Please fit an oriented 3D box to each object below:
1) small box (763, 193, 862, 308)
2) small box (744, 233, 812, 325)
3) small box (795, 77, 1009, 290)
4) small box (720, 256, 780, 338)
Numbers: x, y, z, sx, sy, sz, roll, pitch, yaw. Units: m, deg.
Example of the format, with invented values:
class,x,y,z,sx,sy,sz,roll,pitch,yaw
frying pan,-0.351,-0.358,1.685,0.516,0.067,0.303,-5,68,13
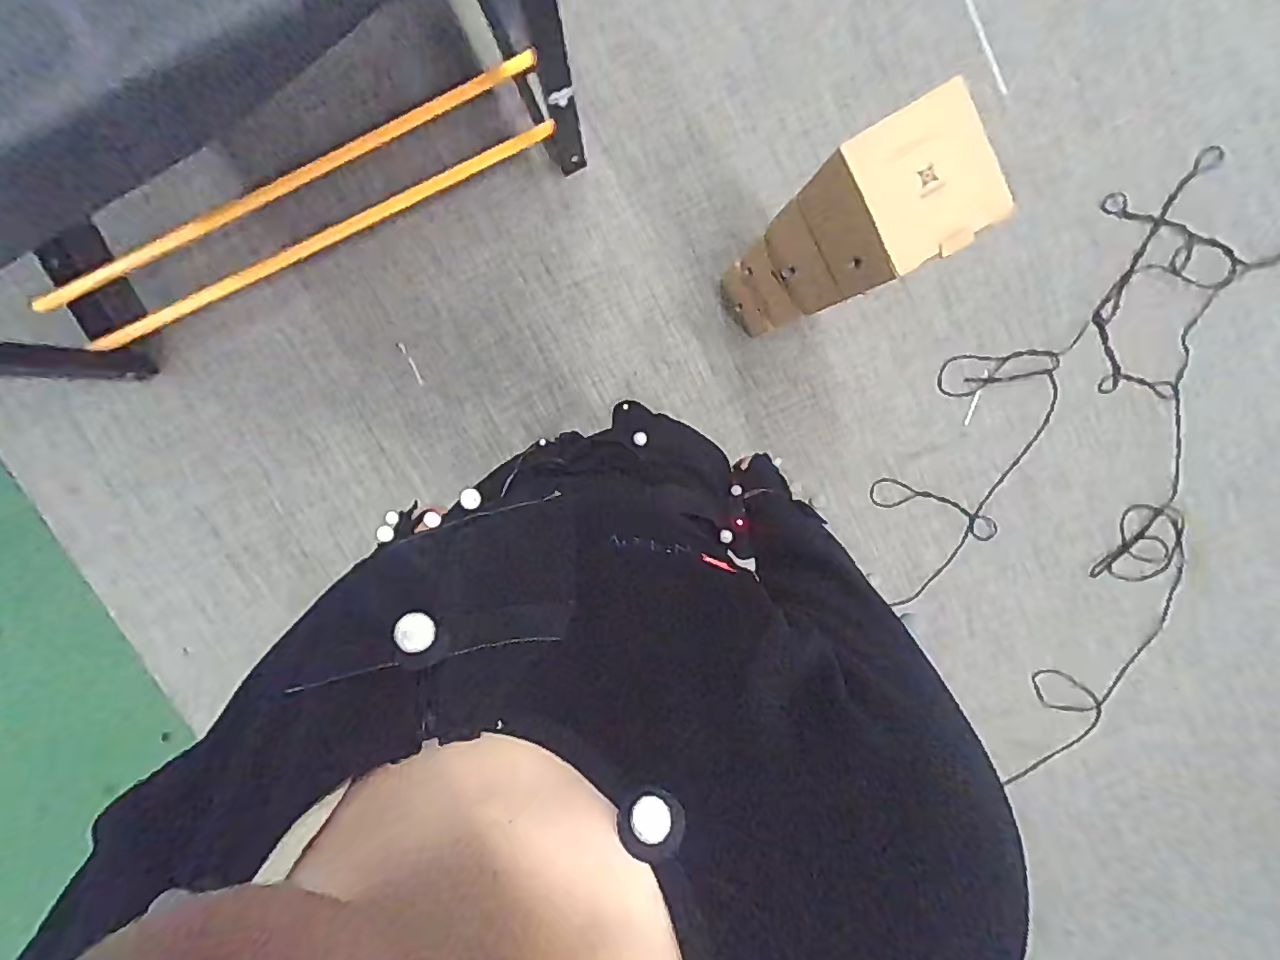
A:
class,x,y,z,sx,sy,sz,roll,pitch,yaw
small box,0.331,-0.402,0.896,0.168,0.176,0.179,-31,99,2
small box,0.321,-0.423,1.058,0.179,0.176,0.168,-31,98,1
small box,0.341,-0.379,0.735,0.168,0.176,0.179,-31,98,1
small box,0.303,-0.441,1.221,0.179,0.176,0.168,-32,97,3
